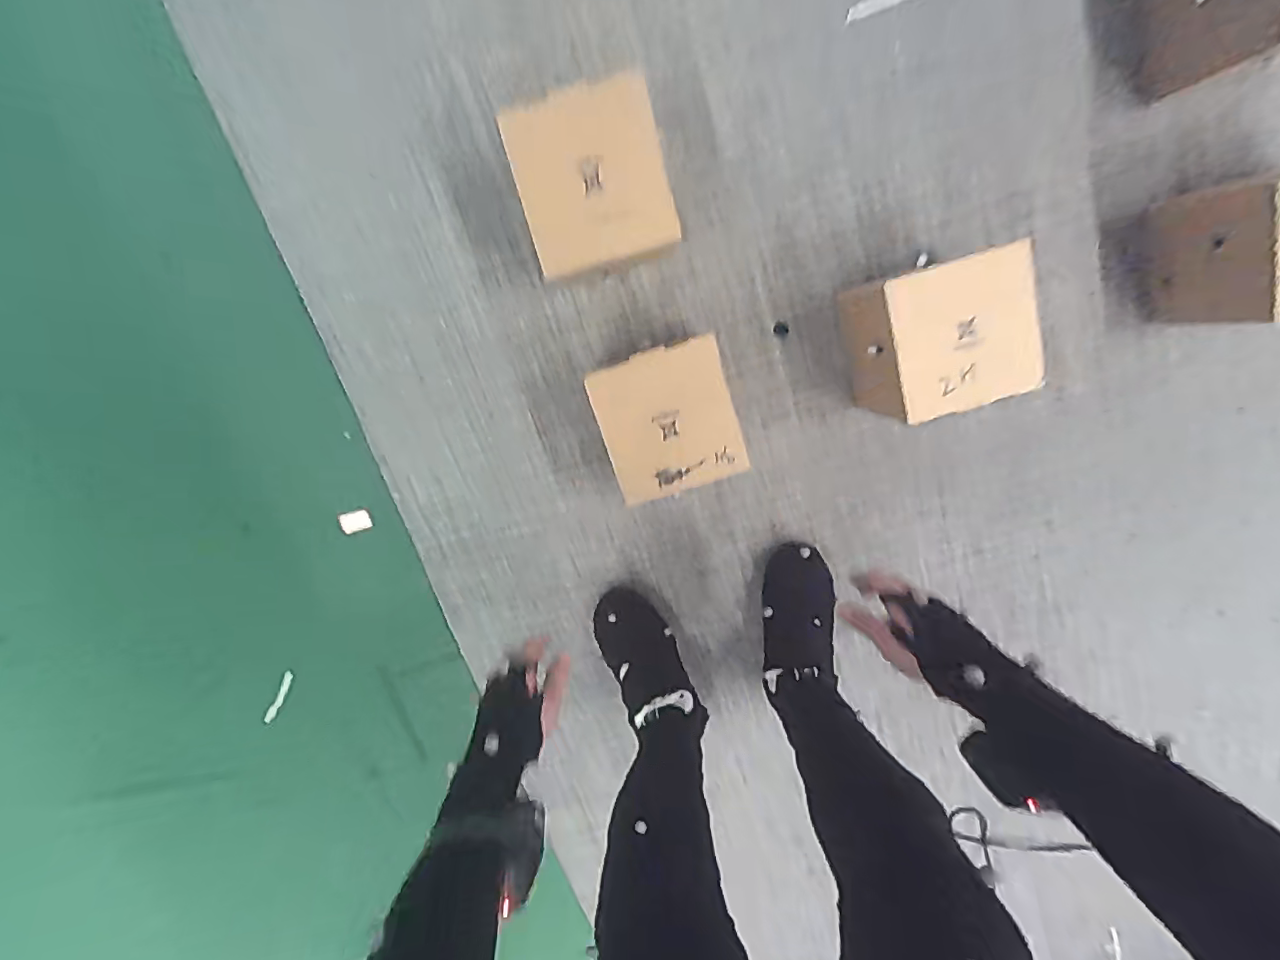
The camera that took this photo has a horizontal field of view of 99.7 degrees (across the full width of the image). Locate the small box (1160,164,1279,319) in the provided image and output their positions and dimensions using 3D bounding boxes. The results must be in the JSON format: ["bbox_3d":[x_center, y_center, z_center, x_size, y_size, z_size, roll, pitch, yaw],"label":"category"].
[{"bbox_3d":[0.798,-0.304,0.668,0.179,0.176,0.168,-16,104,4],"label":"small box"}]

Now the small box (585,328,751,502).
[{"bbox_3d":[0.036,-0.092,0.731,0.168,0.176,0.179,-17,103,6],"label":"small box"}]

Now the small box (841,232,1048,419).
[{"bbox_3d":[0.379,-0.192,0.700,0.168,0.176,0.179,-16,104,5],"label":"small box"}]
